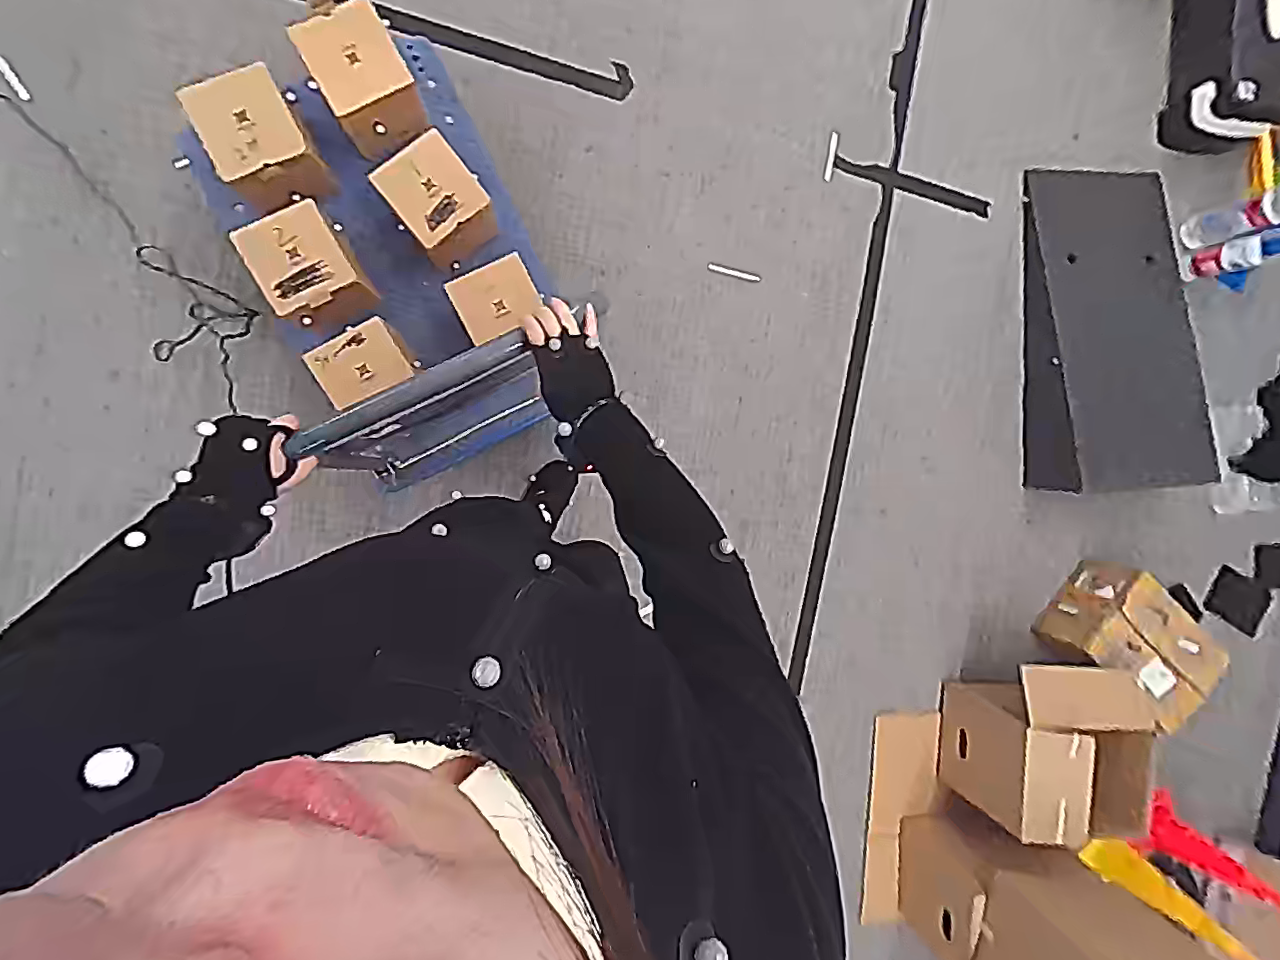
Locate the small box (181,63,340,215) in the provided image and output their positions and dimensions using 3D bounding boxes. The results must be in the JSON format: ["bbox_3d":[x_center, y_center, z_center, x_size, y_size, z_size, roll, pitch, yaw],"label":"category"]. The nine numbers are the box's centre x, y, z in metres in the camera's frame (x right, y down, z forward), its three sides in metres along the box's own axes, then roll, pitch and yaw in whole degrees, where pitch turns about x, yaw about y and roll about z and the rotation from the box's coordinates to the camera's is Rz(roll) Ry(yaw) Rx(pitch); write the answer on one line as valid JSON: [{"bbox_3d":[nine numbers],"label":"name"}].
[{"bbox_3d":[-0.744,-0.671,1.083,0.168,0.176,0.179,-26,99,-7],"label":"small box"}]

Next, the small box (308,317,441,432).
[{"bbox_3d":[-0.549,-0.216,1.149,0.168,0.176,0.179,-32,99,-7],"label":"small box"}]

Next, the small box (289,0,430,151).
[{"bbox_3d":[-0.558,-0.813,1.106,0.168,0.176,0.179,-31,98,-6],"label":"small box"}]

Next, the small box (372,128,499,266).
[{"bbox_3d":[-0.420,-0.581,1.146,0.168,0.176,0.179,-40,98,-5],"label":"small box"}]

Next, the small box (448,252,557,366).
[{"bbox_3d":[-0.291,-0.361,1.185,0.168,0.176,0.179,-28,97,-7],"label":"small box"}]
